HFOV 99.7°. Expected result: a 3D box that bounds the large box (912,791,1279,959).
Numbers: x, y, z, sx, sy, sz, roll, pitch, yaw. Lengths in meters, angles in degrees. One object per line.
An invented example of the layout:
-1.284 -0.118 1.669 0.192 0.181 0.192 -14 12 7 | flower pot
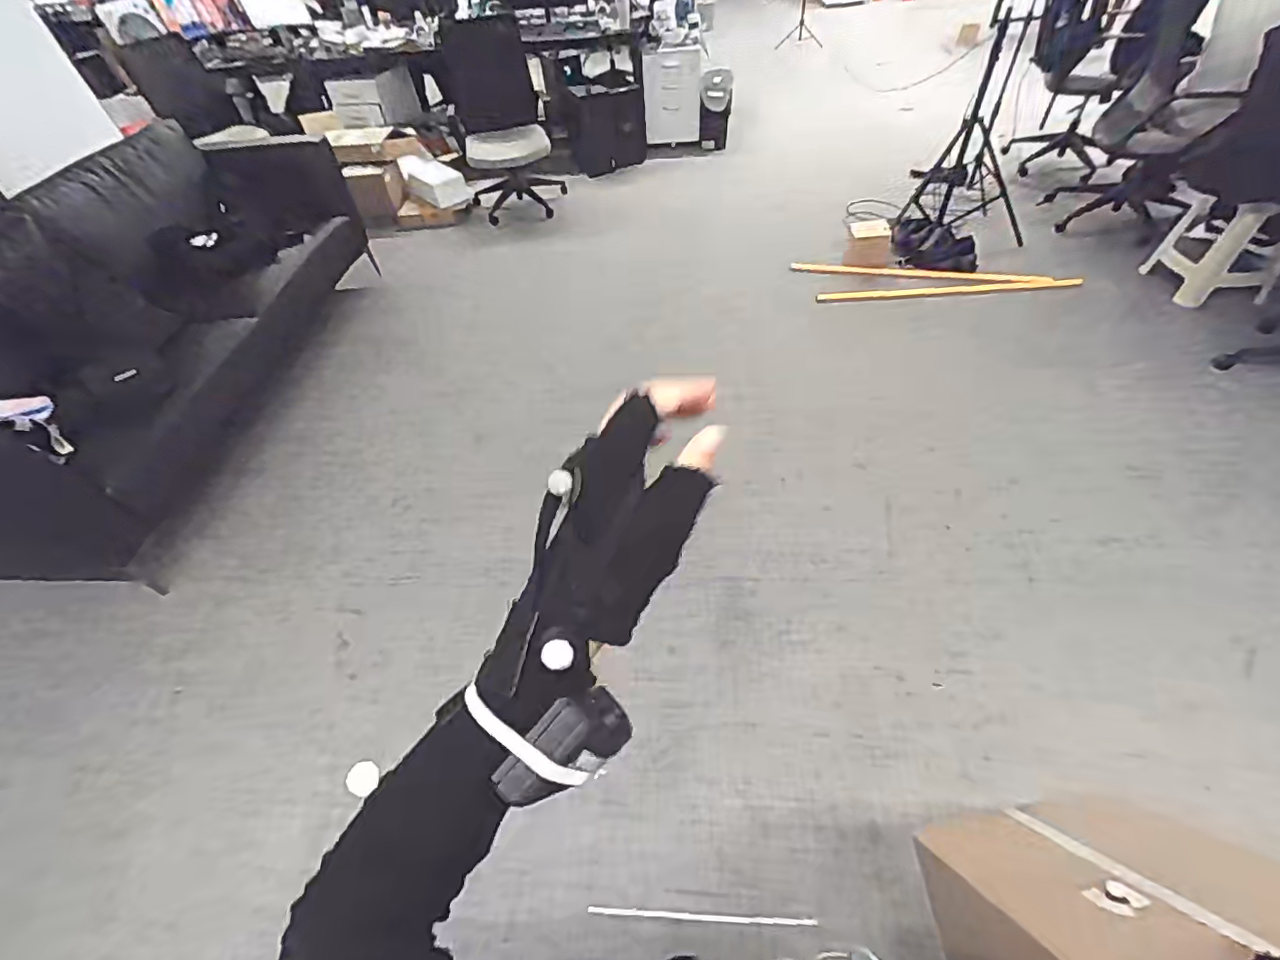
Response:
0.595 0.614 0.619 0.320 0.408 0.320 -11 77 -2 | large box
